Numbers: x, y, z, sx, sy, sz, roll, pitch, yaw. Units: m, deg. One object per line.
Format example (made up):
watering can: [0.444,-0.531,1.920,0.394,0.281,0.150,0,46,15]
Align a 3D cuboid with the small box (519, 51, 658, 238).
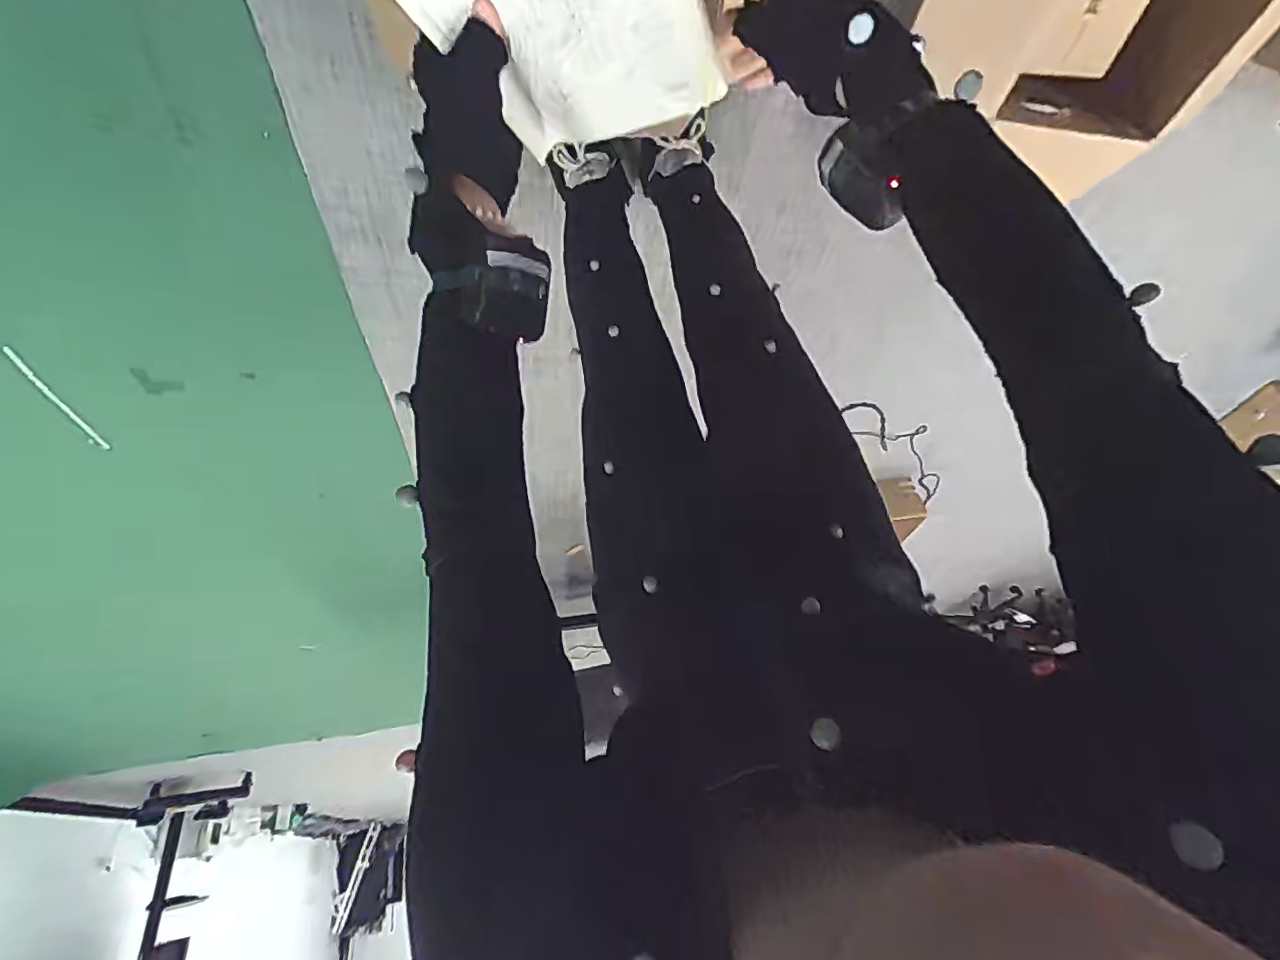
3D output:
small box: [-0.089,-0.540,0.884,0.179,0.176,0.168,20,148,-15]
